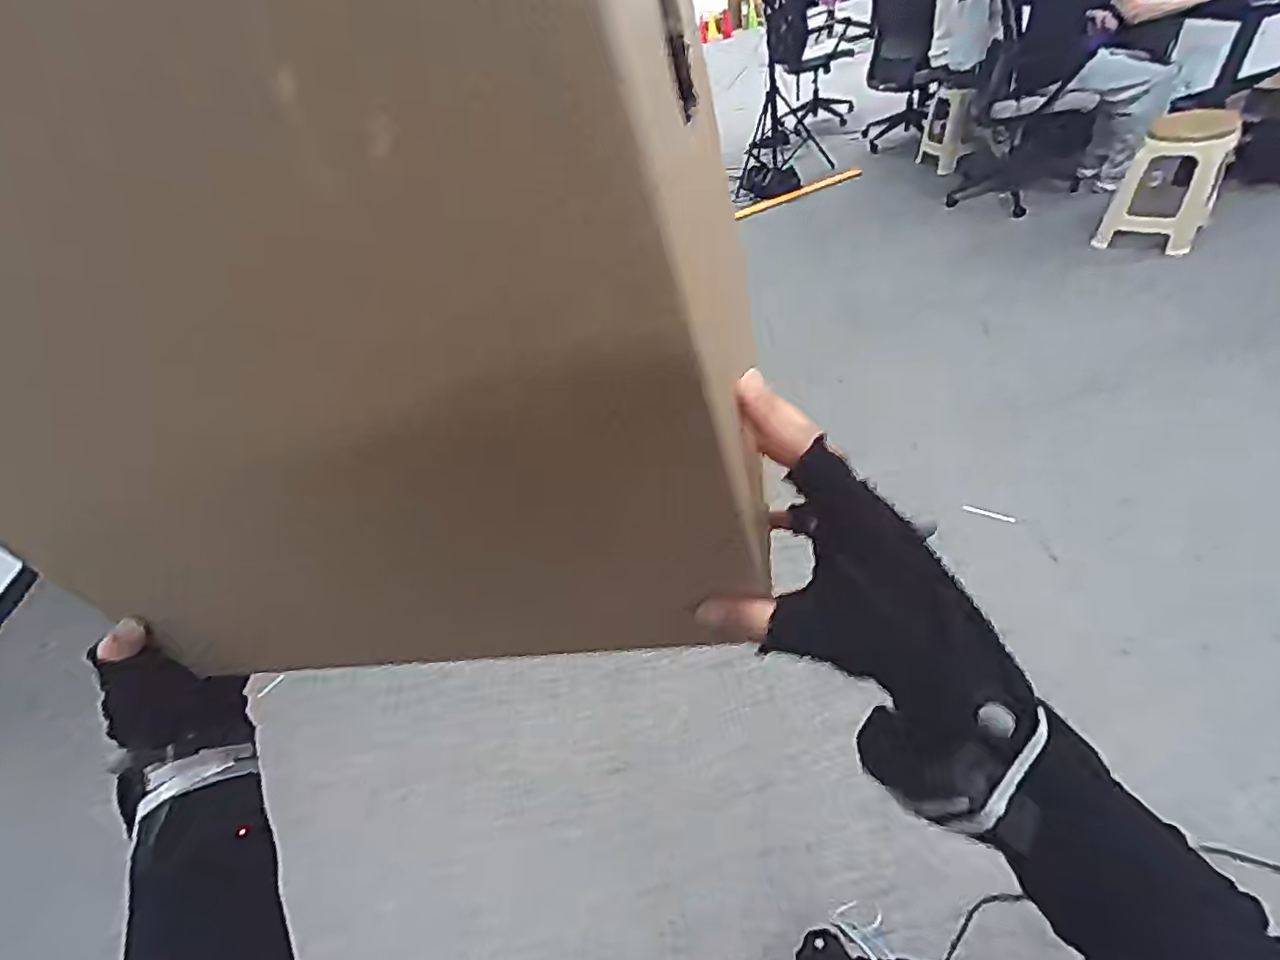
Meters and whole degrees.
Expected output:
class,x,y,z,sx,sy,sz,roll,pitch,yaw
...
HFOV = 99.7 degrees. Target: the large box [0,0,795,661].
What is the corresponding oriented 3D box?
class,x,y,z,sx,sy,sz,roll,pitch,yaw
large box,-0.134,-0.110,0.351,0.408,0.320,0.320,-9,40,15
